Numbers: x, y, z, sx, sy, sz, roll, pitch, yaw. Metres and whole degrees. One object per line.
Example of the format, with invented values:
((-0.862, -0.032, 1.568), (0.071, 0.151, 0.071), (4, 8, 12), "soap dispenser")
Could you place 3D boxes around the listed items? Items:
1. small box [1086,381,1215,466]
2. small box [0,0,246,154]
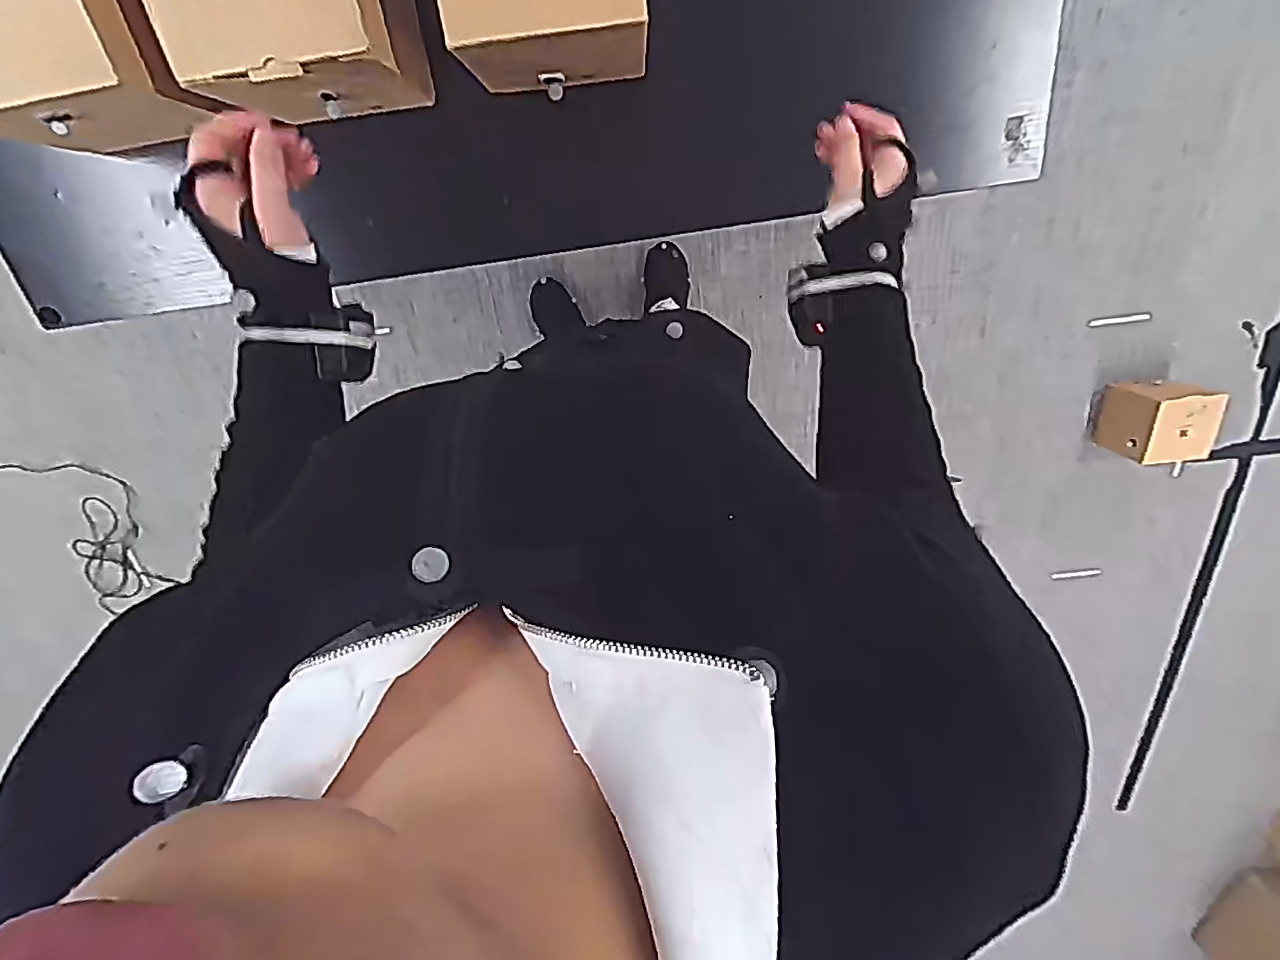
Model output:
((1.348, -0.154, 1.445), (0.168, 0.176, 0.179), (-6, 114, 1), "small box")
((-0.521, -0.415, 0.492), (0.179, 0.176, 0.168), (-10, 114, 2), "small box")
